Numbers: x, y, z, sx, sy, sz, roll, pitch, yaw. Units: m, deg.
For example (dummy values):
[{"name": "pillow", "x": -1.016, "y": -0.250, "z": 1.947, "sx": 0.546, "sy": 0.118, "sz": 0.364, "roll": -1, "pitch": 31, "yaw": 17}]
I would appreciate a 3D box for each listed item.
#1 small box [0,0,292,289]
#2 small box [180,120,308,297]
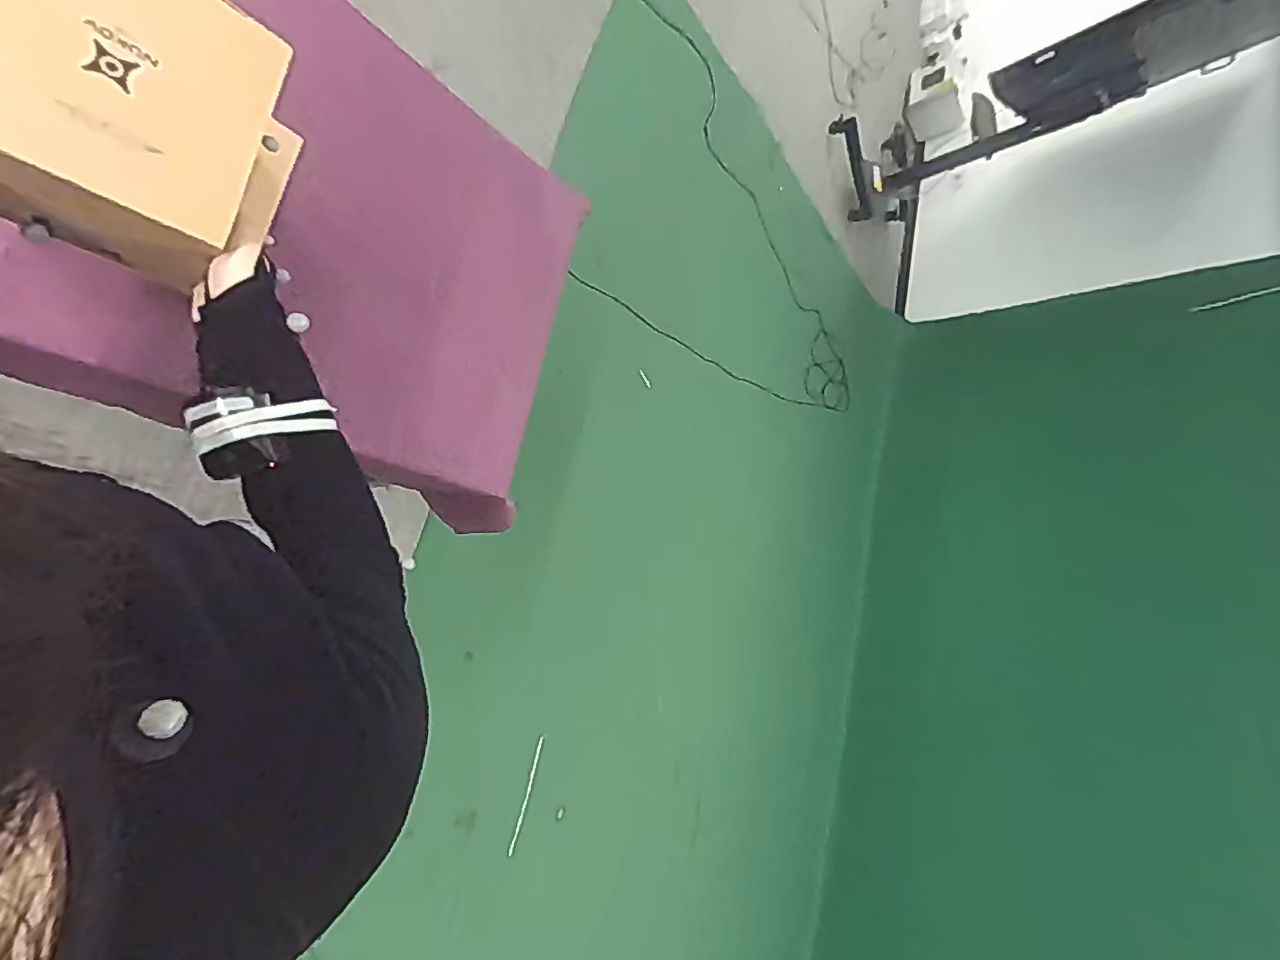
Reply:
[{"name": "small box", "x": -0.399, "y": -0.274, "z": 0.411, "sx": 0.168, "sy": 0.176, "sz": 0.179, "roll": 20, "pitch": 79, "yaw": -43}, {"name": "small box", "x": -0.491, "y": -0.313, "z": 0.566, "sx": 0.179, "sy": 0.176, "sz": 0.168, "roll": 23, "pitch": 73, "yaw": -43}]
